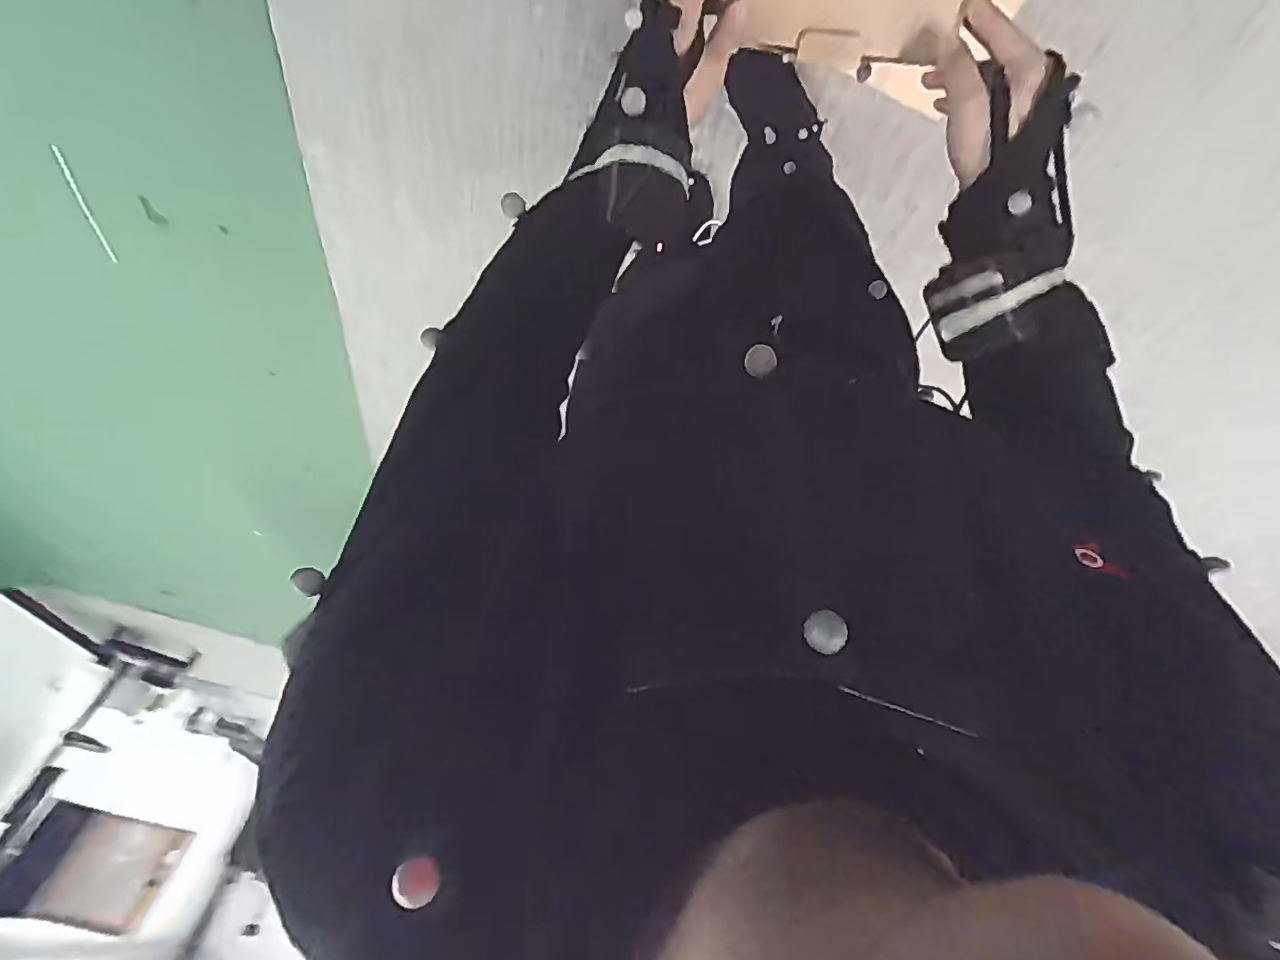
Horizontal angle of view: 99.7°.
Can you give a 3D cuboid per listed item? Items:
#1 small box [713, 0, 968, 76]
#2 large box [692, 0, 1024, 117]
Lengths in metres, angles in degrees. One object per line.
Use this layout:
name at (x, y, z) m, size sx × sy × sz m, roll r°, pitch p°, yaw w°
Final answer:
small box at (0.154, -0.411, 0.391) m, size 0.168 × 0.176 × 0.179 m, roll 10°, pitch 129°, yaw 6°
large box at (0.296, -0.751, 0.689) m, size 0.408 × 0.320 × 0.320 m, roll 20°, pitch 139°, yaw -9°
